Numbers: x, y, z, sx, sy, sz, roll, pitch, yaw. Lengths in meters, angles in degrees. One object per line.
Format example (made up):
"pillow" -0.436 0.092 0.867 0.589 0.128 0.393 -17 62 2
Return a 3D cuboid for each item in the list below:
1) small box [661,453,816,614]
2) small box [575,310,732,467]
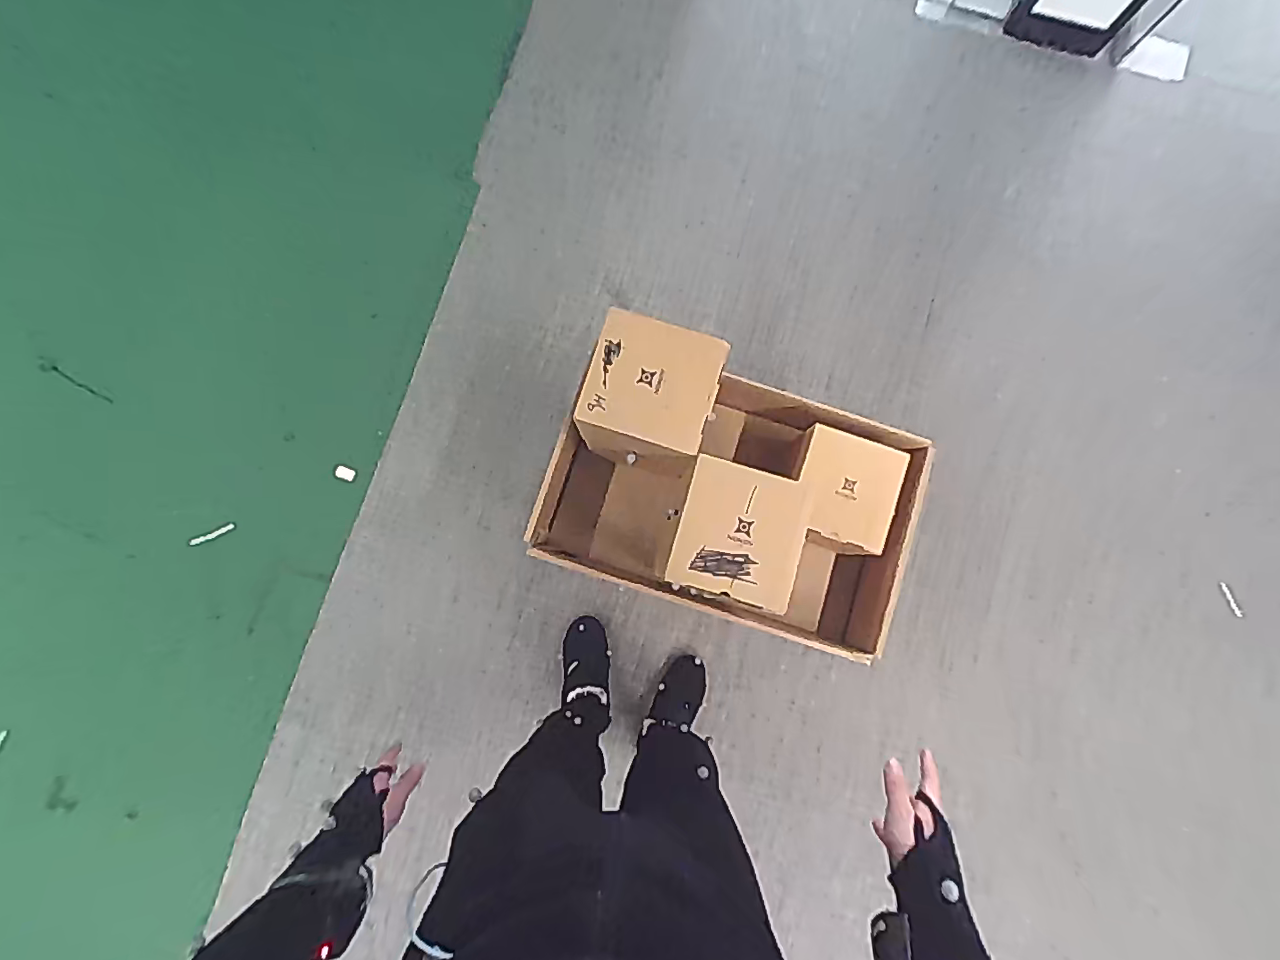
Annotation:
"small box" 0.131 0.079 0.784 0.168 0.176 0.179 17 82 1
"small box" 0.017 -0.123 0.810 0.179 0.176 0.168 18 83 0
